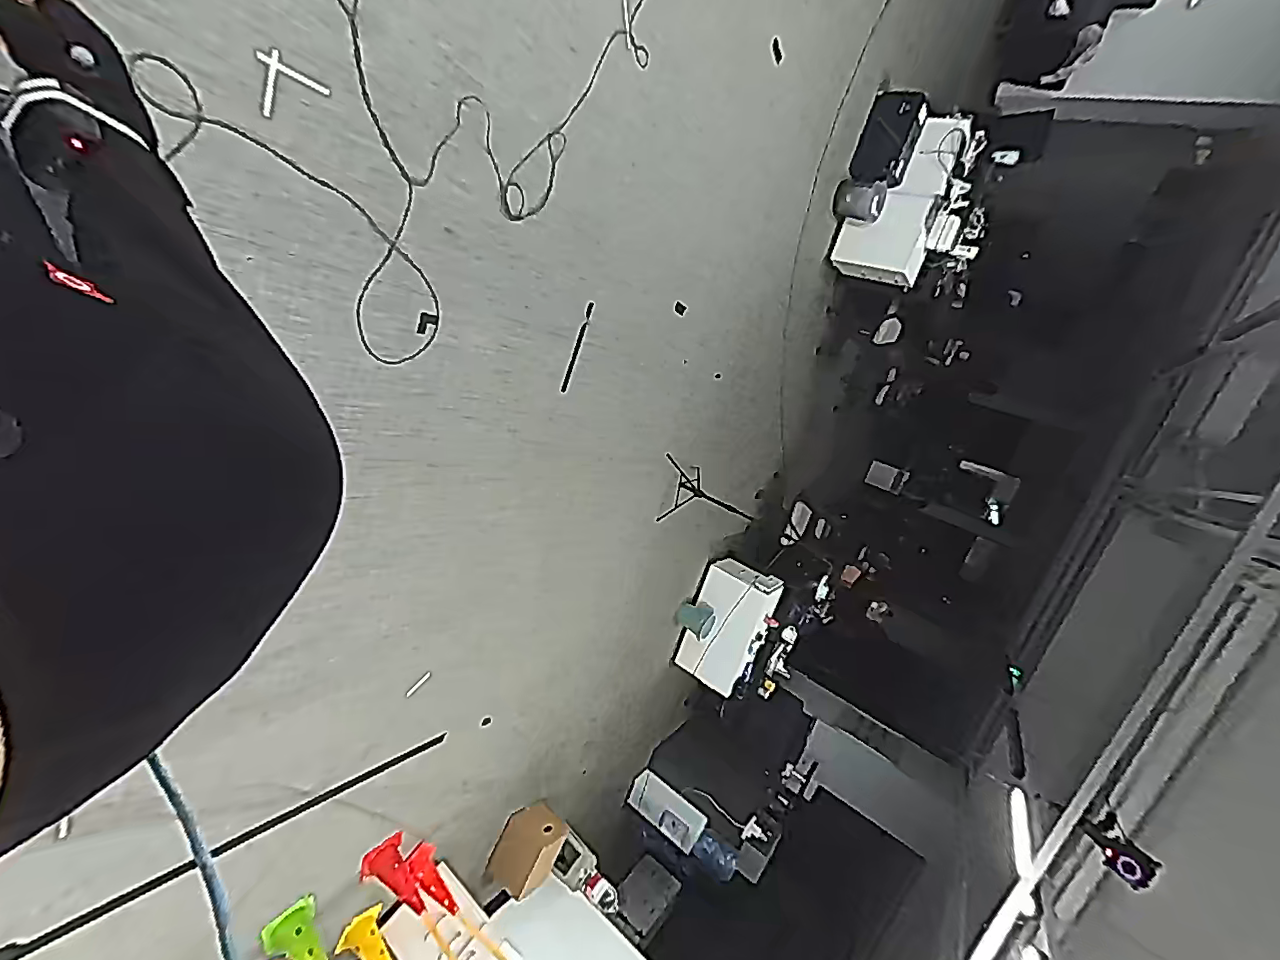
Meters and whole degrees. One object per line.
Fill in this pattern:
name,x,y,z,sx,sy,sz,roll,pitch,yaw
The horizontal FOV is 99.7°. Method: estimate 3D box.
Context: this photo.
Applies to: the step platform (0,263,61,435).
step platform,-1.316,-0.227,0.762,0.684,0.204,0.286,-4,116,-56
